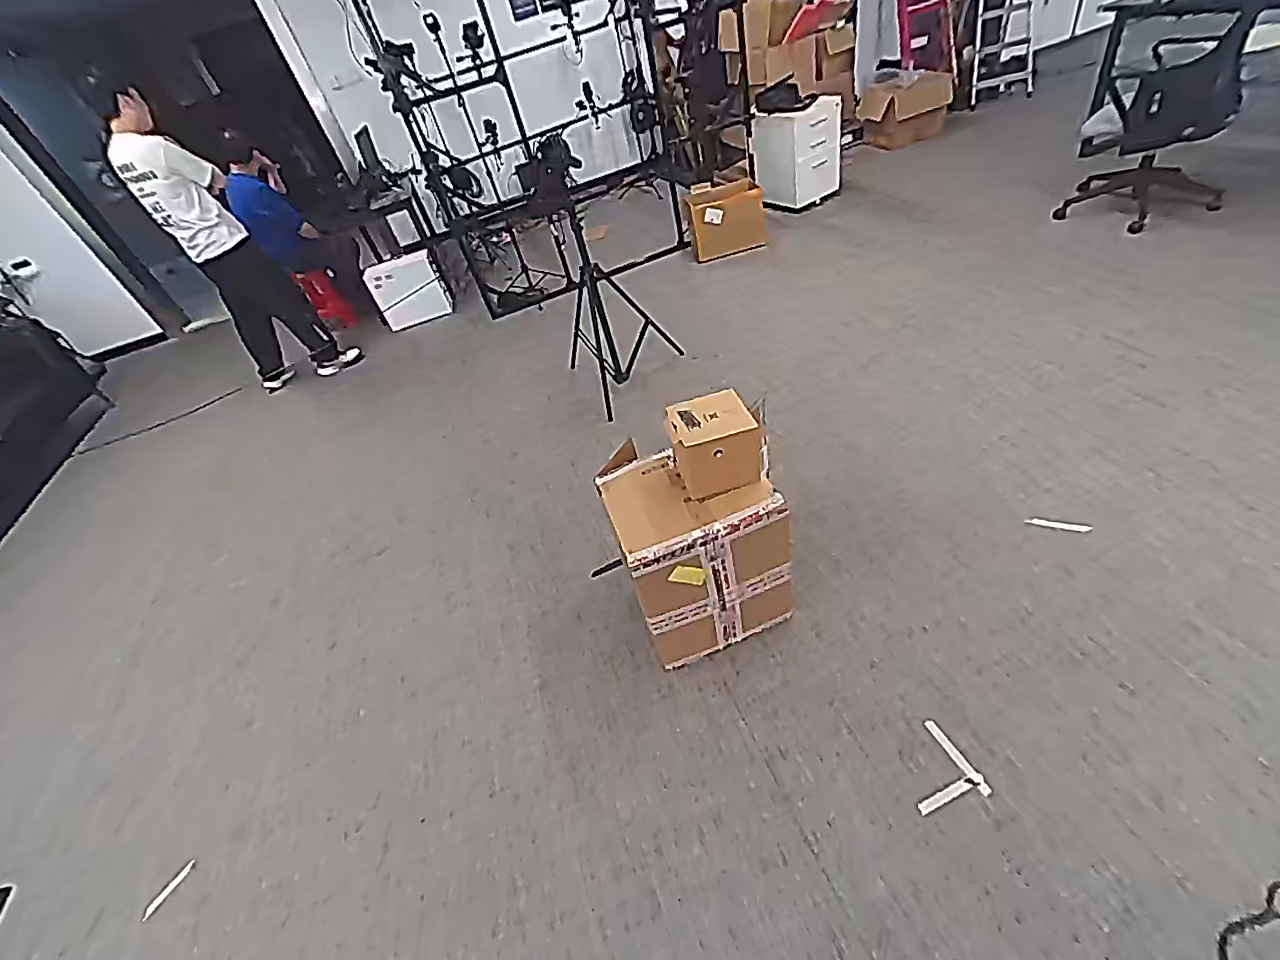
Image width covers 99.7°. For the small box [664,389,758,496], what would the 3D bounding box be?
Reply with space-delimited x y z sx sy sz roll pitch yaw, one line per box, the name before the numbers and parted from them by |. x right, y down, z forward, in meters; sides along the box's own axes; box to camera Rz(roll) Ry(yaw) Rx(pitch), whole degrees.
small box | 0.172 -0.087 1.294 0.179 0.176 0.168 -17 43 -3
